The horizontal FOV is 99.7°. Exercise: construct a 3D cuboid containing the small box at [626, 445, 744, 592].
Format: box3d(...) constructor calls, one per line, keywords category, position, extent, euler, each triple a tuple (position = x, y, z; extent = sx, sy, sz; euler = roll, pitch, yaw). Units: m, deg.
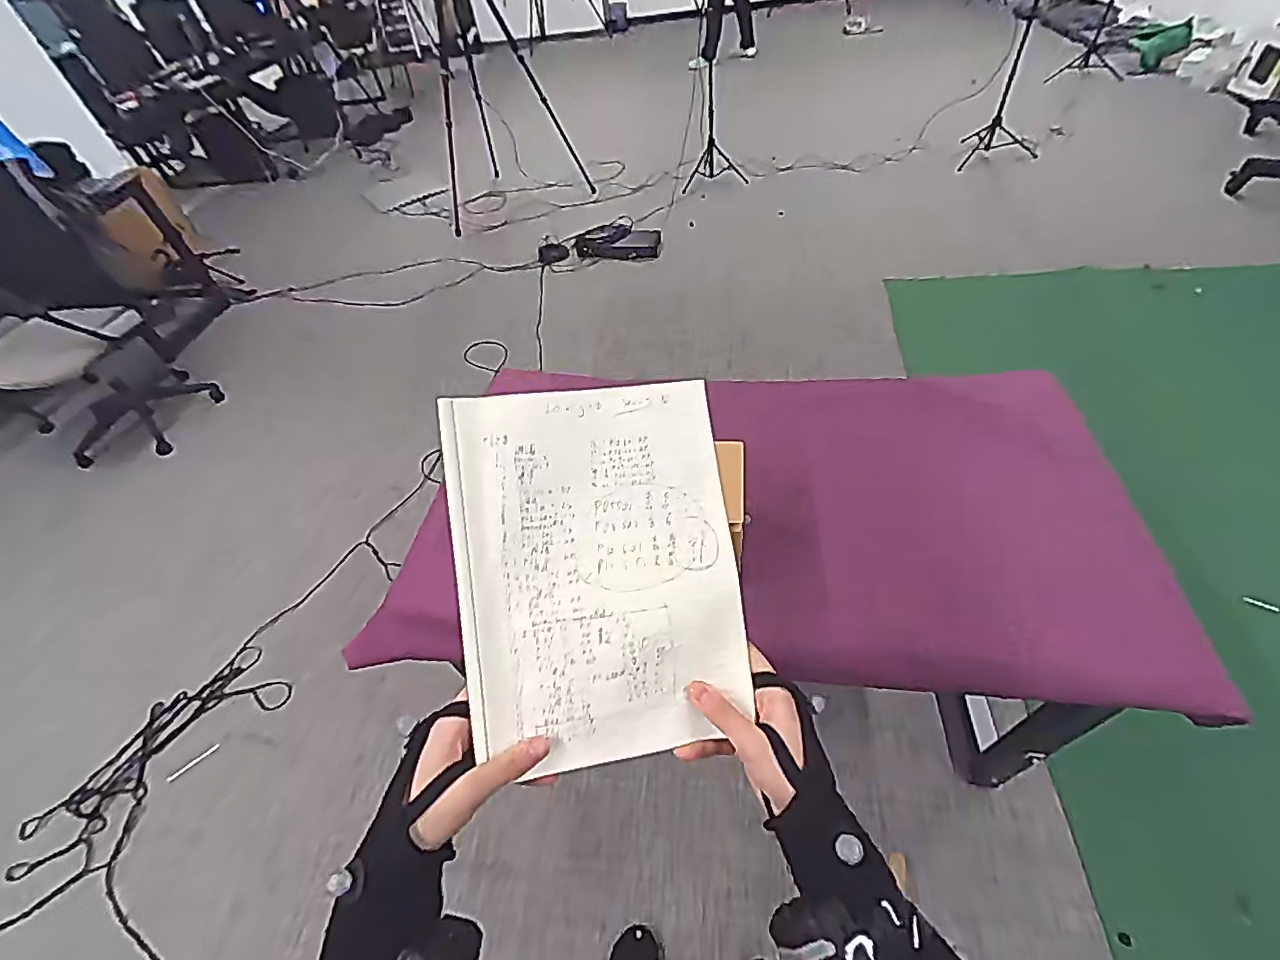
box3d(category="small box", position=(0.081, 0.064, 0.871), extent=(0.168, 0.176, 0.179), euler=(2, 50, 10))
